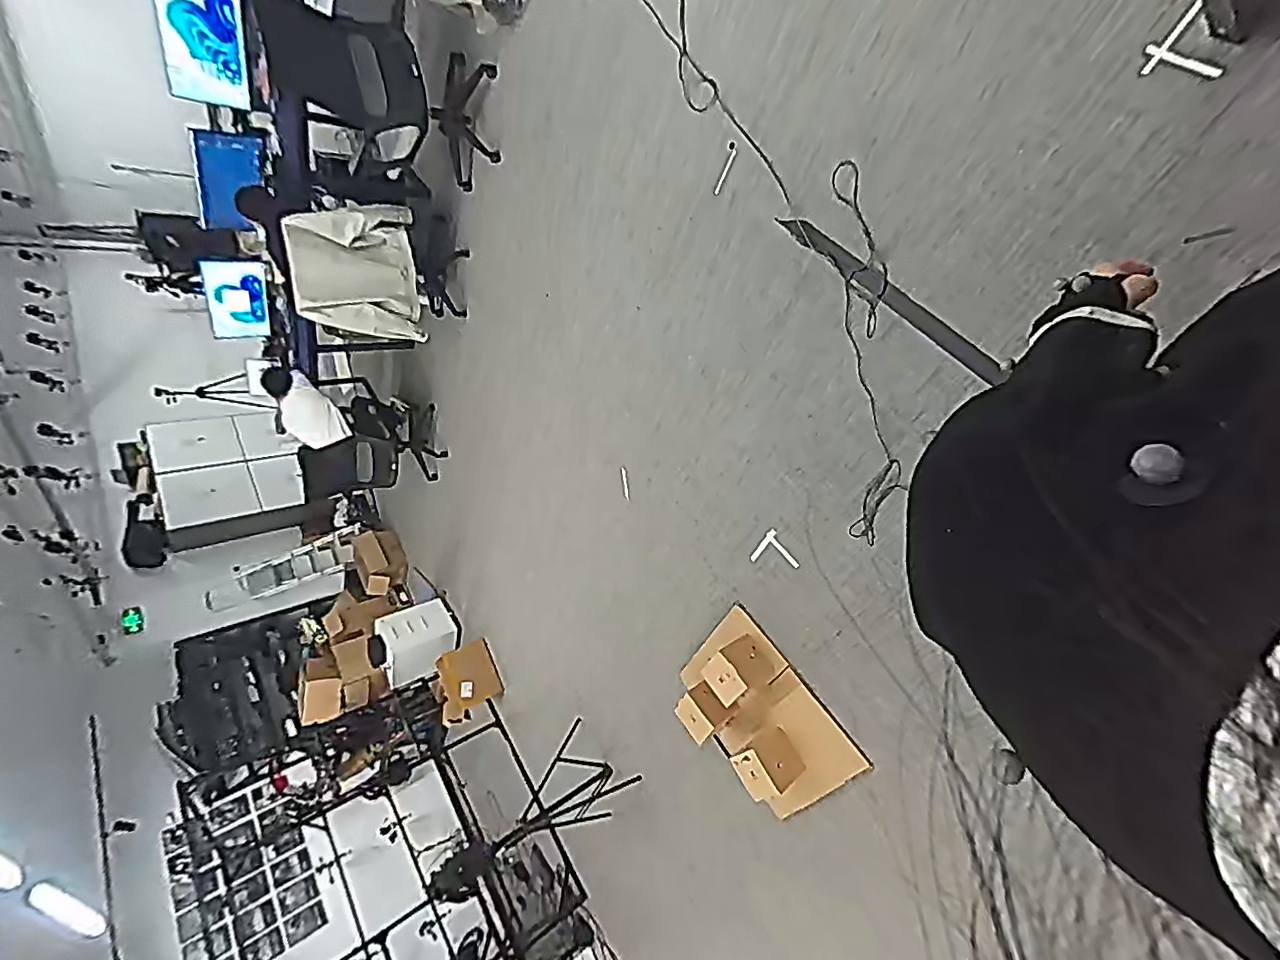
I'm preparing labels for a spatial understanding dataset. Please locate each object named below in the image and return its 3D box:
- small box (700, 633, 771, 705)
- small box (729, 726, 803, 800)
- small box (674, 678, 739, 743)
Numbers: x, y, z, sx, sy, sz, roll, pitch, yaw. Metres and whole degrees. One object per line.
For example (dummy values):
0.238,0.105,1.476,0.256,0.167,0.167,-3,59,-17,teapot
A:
0.371,0.724,2.079,0.168,0.176,0.179,51,134,26,small box
0.482,1.072,2.055,0.179,0.176,0.168,57,137,19,small box
0.280,0.953,2.266,0.179,0.176,0.168,47,135,30,small box
